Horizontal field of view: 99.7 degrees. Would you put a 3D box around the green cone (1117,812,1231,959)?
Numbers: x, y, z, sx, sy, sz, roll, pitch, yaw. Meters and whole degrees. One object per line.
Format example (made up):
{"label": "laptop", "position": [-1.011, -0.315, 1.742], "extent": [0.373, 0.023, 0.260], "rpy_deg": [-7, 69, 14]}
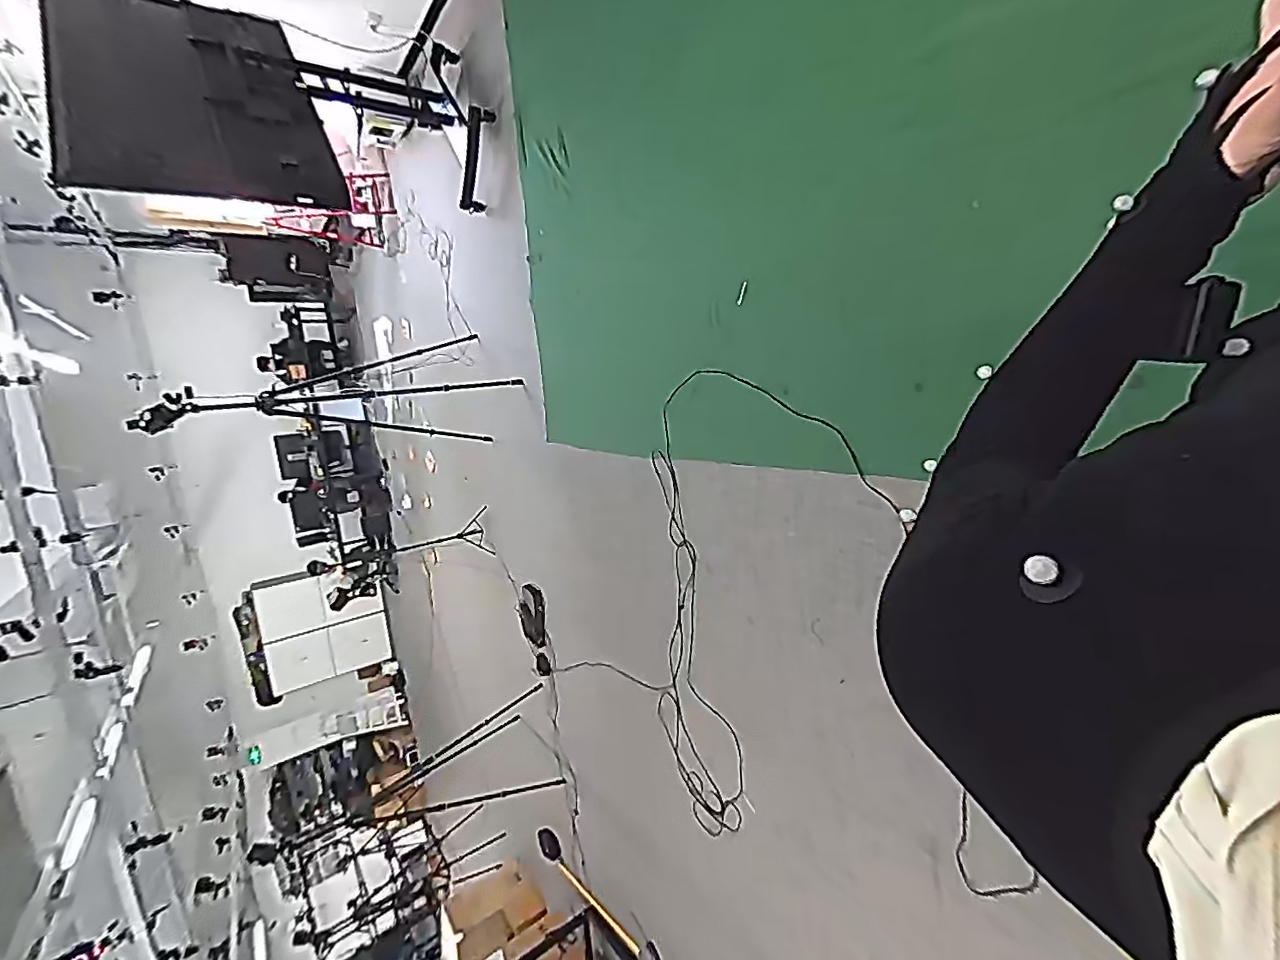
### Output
{"label": "green cone", "position": [1.198, 0.997, 1.260], "extent": [0.202, 0.368, 0.200], "rpy_deg": [9, 107, 53]}
